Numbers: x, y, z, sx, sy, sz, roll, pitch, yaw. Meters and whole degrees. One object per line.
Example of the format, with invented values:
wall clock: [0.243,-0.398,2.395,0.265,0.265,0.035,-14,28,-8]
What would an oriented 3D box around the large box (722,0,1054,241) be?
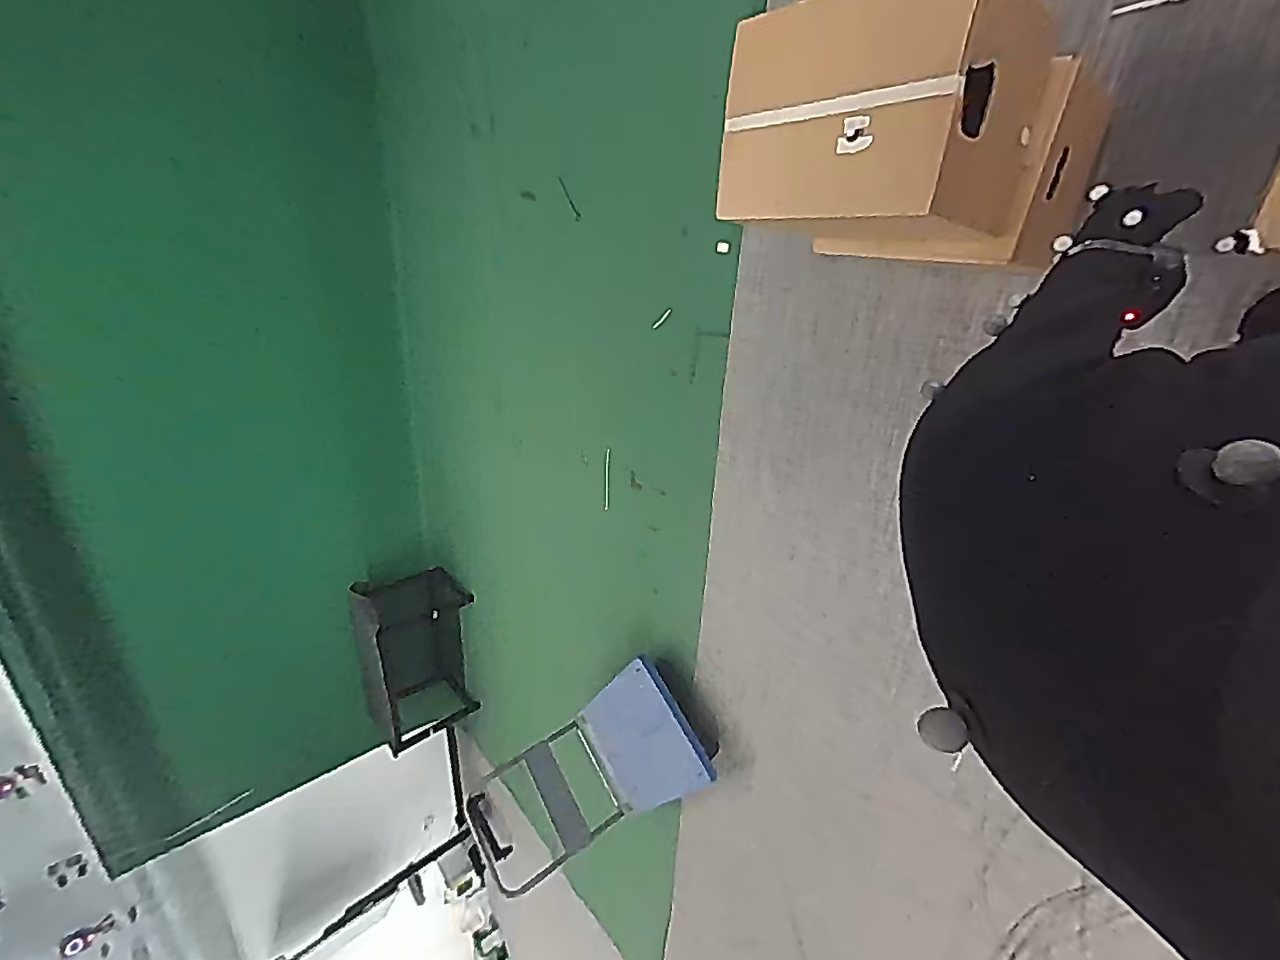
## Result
large box: [0.410,-0.609,0.948,0.408,0.320,0.320,24,117,42]
